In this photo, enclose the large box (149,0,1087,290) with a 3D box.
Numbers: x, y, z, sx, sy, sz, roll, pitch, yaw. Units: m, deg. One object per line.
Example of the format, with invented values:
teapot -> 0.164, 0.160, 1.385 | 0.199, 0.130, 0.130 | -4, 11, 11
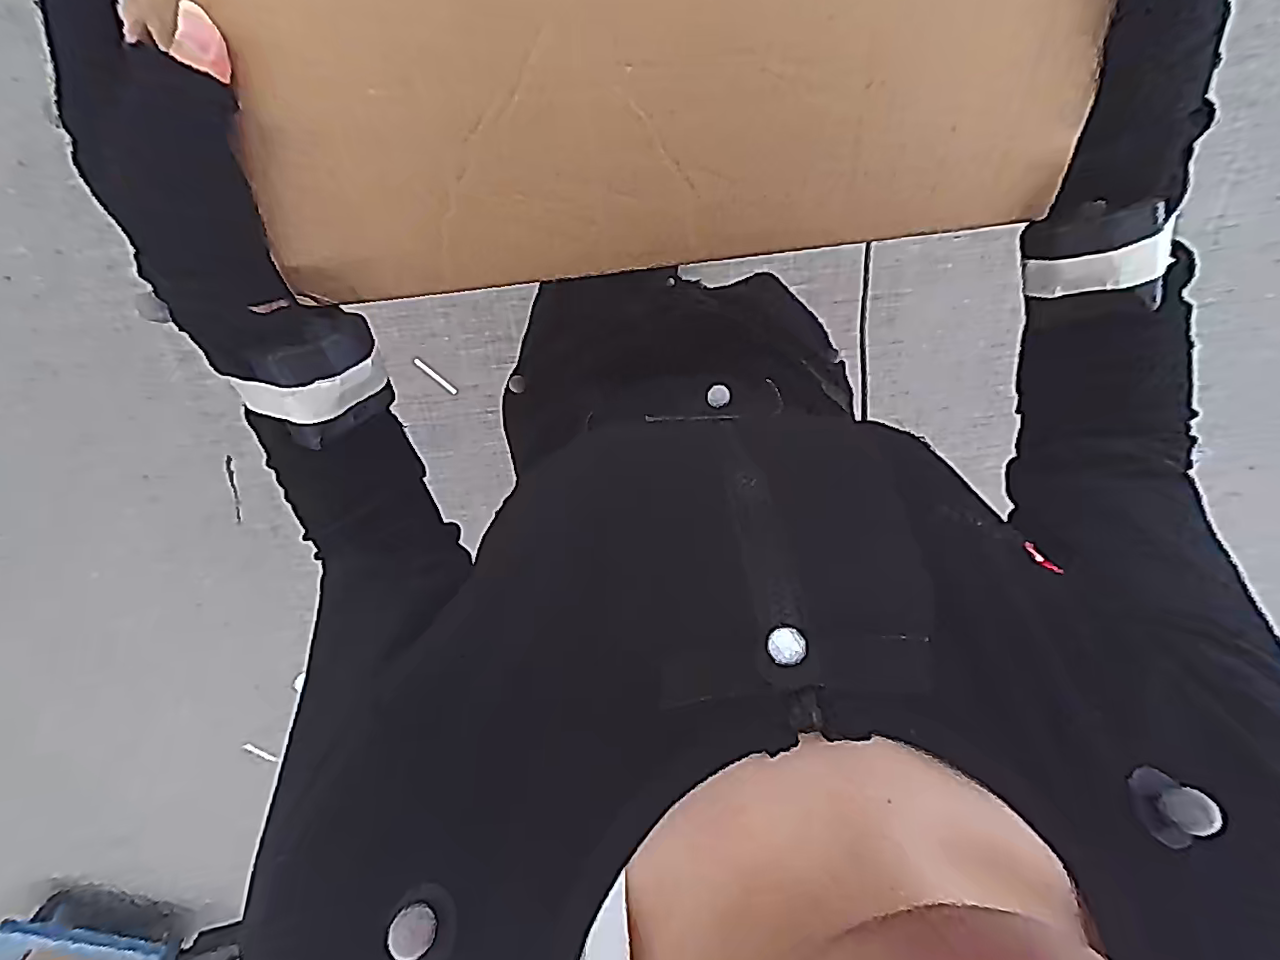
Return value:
large box -> -0.013, -0.341, 0.302 | 0.408, 0.320, 0.320 | -7, 132, -2
